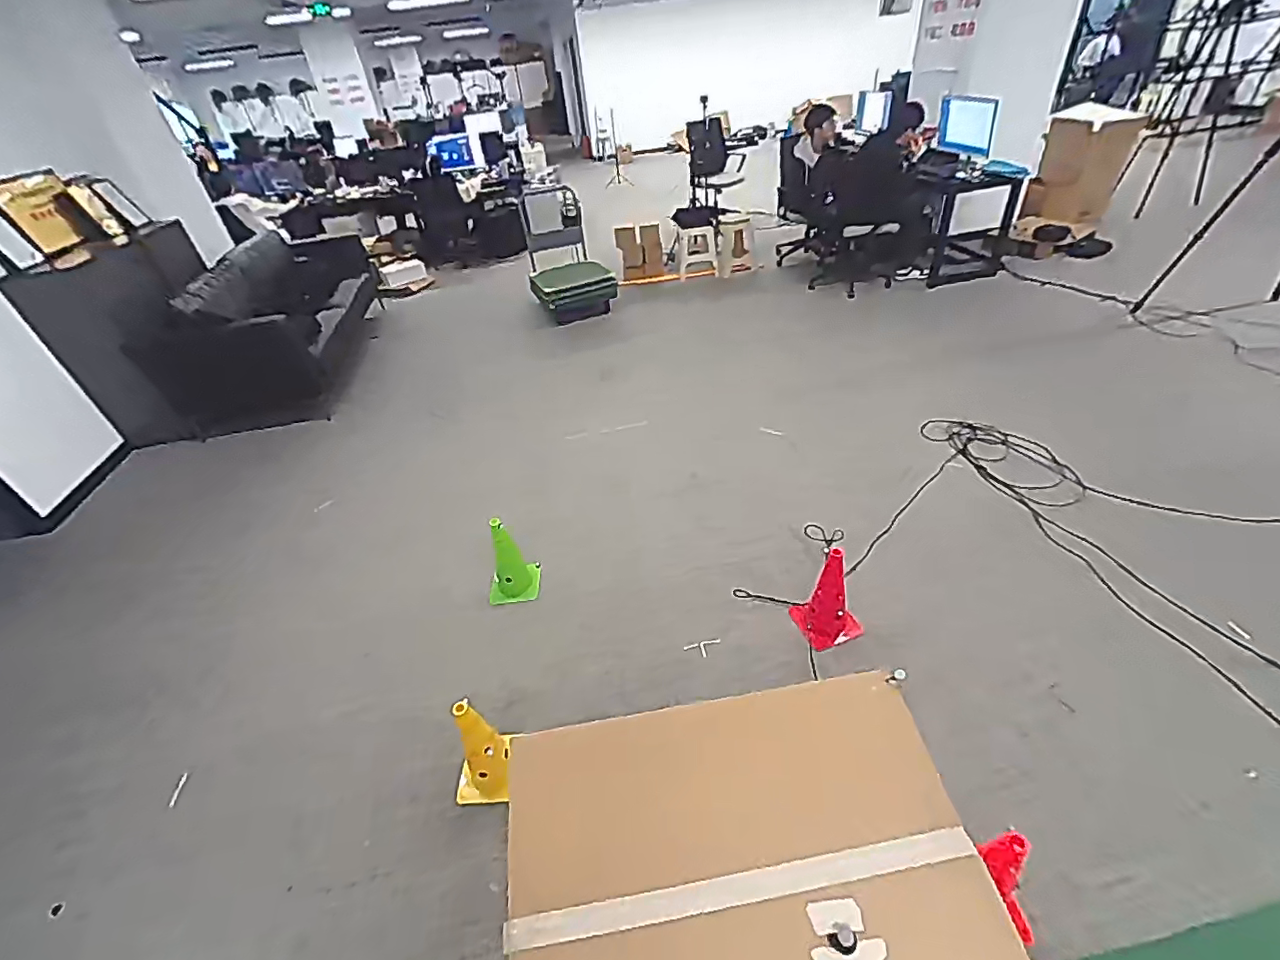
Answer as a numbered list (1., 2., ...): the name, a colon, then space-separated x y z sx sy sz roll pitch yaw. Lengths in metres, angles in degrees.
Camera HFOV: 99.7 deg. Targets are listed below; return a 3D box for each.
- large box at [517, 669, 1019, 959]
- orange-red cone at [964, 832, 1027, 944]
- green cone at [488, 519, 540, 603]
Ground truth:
1. large box: 0.099 0.447 0.584 0.408 0.320 0.320 -9 50 -4
2. orange-red cone: 0.776 0.864 1.198 0.199 0.360 0.198 -5 39 1
3. green cone: -0.540 0.295 2.153 0.200 0.368 0.202 -8 39 1
